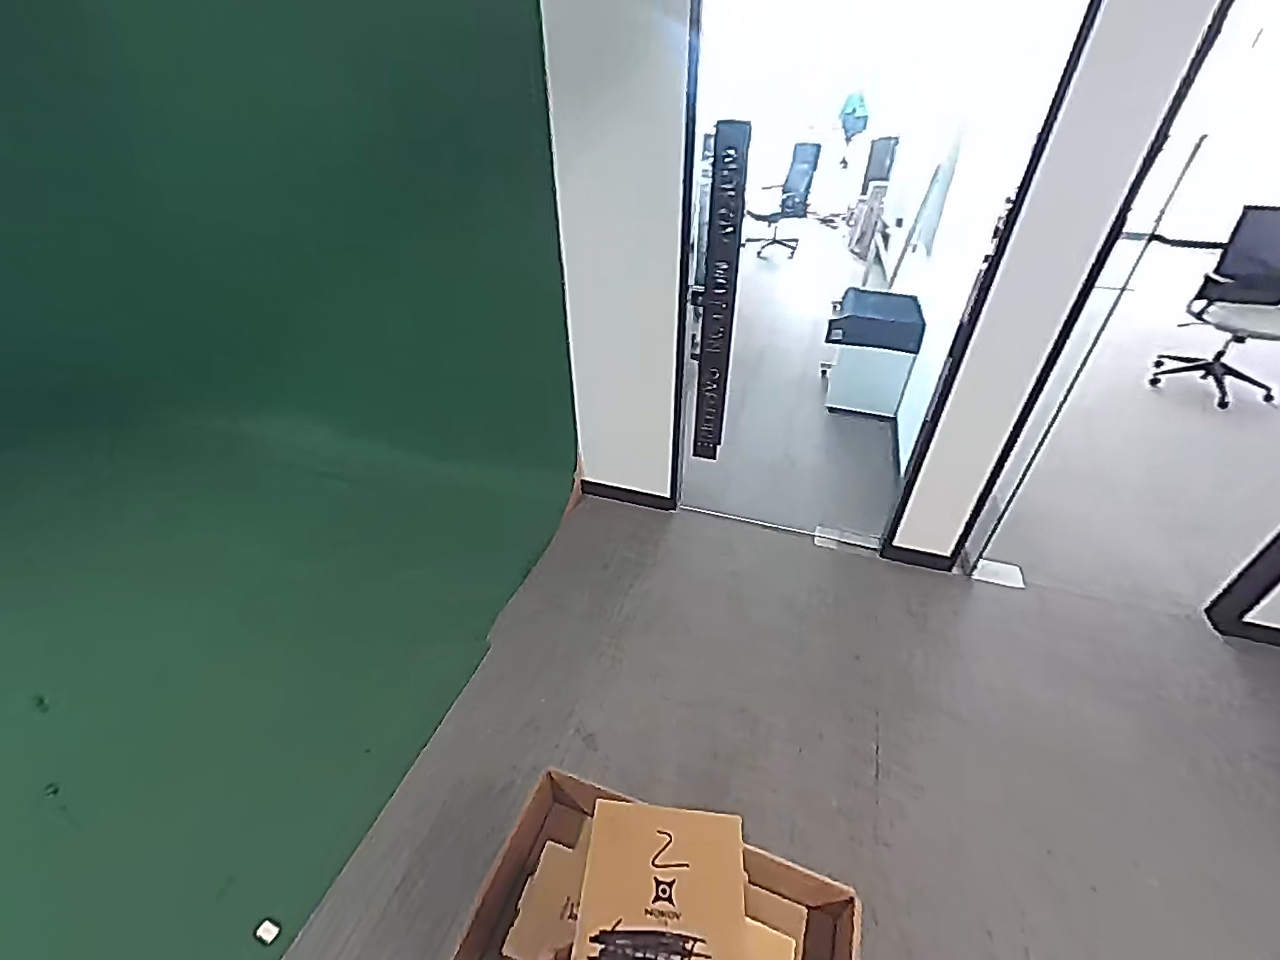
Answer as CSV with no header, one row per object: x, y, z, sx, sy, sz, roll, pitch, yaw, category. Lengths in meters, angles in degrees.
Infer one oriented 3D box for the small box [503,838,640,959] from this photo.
-0.110,0.766,0.930,0.179,0.176,0.168,14,39,15,small box
